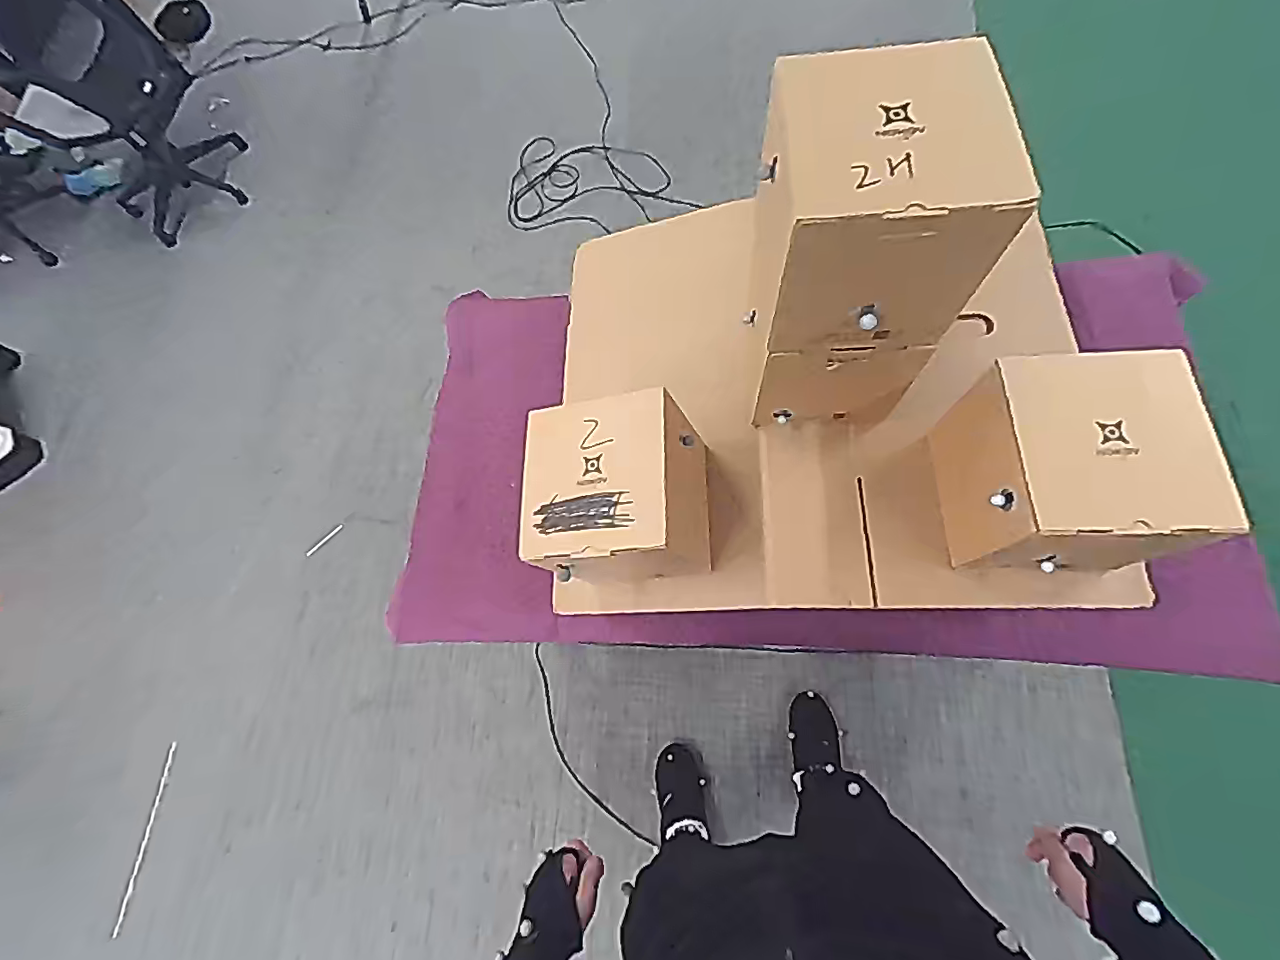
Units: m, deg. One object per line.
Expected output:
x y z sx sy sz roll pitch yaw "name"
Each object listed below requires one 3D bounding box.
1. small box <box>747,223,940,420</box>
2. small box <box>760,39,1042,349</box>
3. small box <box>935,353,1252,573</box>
0.218 -0.178 0.629 0.168 0.176 0.179 -1 69 5 "small box"
0.201 -0.237 0.477 0.168 0.176 0.179 -1 71 6 "small box"
0.425 -0.008 0.549 0.168 0.176 0.179 -1 71 6 "small box"
